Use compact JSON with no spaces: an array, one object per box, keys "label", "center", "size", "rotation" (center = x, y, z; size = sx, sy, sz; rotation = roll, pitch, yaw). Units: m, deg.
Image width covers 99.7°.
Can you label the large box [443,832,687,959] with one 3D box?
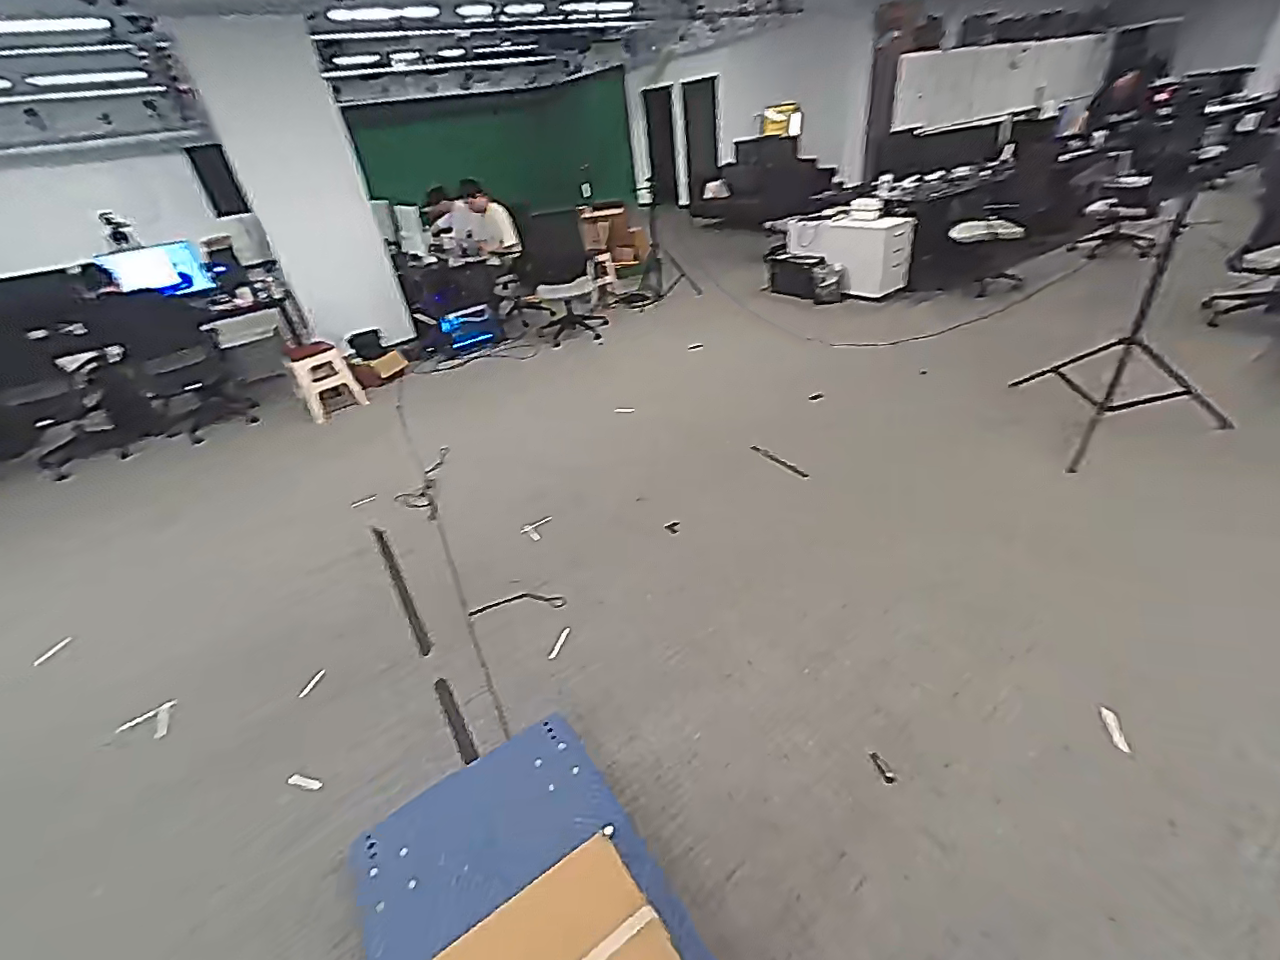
[{"label":"large box","center":[-0.117,0.907,0.881],"size":[0.408,0.320,0.320],"rotation":[-25,37,-24]}]
